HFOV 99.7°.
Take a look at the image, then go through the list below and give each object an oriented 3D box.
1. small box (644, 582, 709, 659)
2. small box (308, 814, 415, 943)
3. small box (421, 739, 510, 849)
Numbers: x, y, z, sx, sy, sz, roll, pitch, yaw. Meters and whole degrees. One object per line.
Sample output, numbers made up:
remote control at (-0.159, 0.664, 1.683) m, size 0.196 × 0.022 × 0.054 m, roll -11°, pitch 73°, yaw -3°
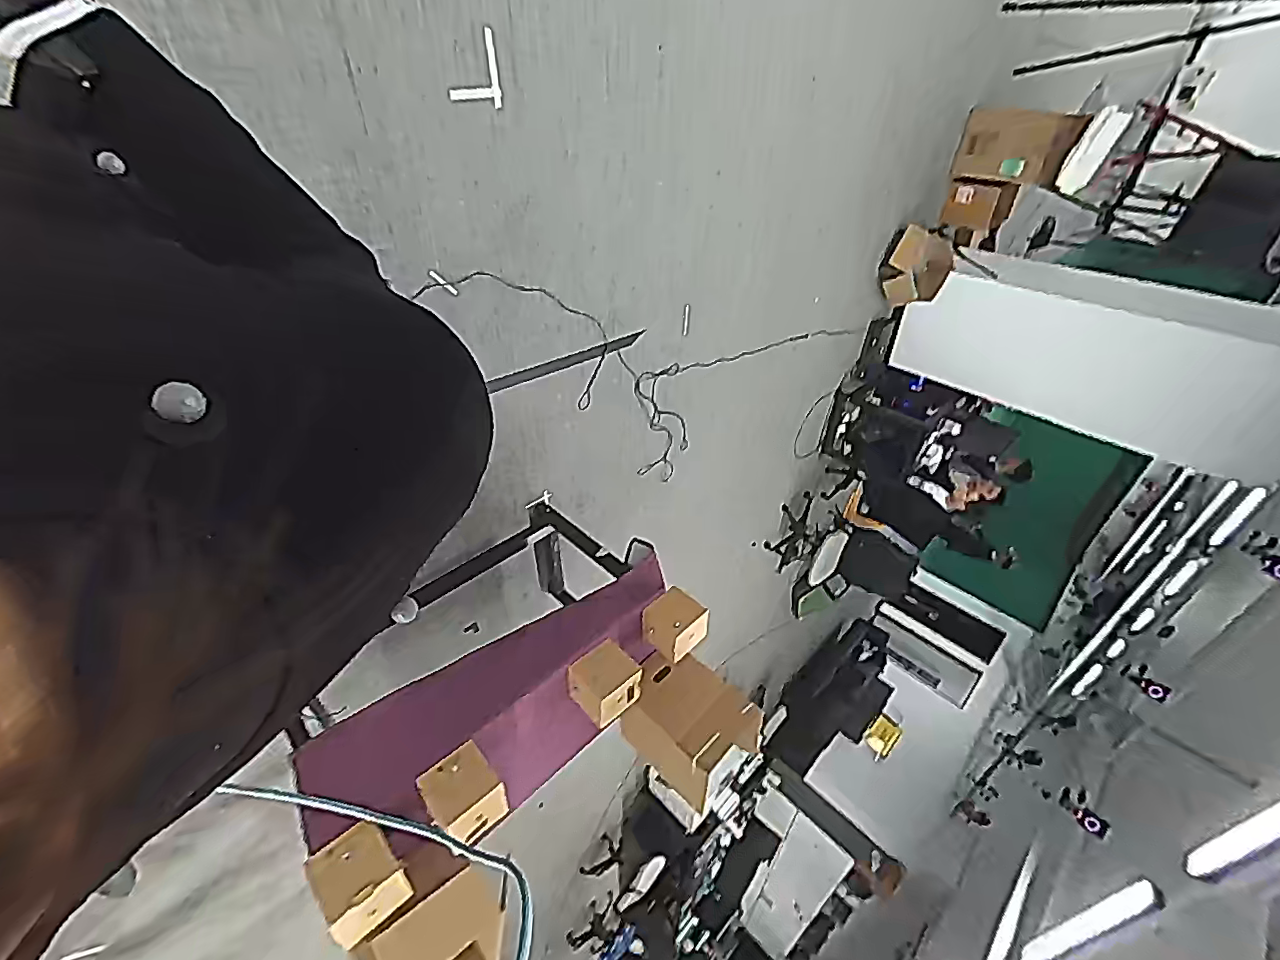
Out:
small box at (0.133, 0.512, 1.997) m, size 0.179 × 0.176 × 0.168 m, roll -32°, pitch 139°, yaw -31°
small box at (-0.686, 0.977, 1.337) m, size 0.168 × 0.176 × 0.179 m, roll -28°, pitch 137°, yaw -37°
small box at (-0.484, 0.865, 1.504) m, size 0.168 × 0.176 × 0.179 m, roll -28°, pitch 136°, yaw -36°
